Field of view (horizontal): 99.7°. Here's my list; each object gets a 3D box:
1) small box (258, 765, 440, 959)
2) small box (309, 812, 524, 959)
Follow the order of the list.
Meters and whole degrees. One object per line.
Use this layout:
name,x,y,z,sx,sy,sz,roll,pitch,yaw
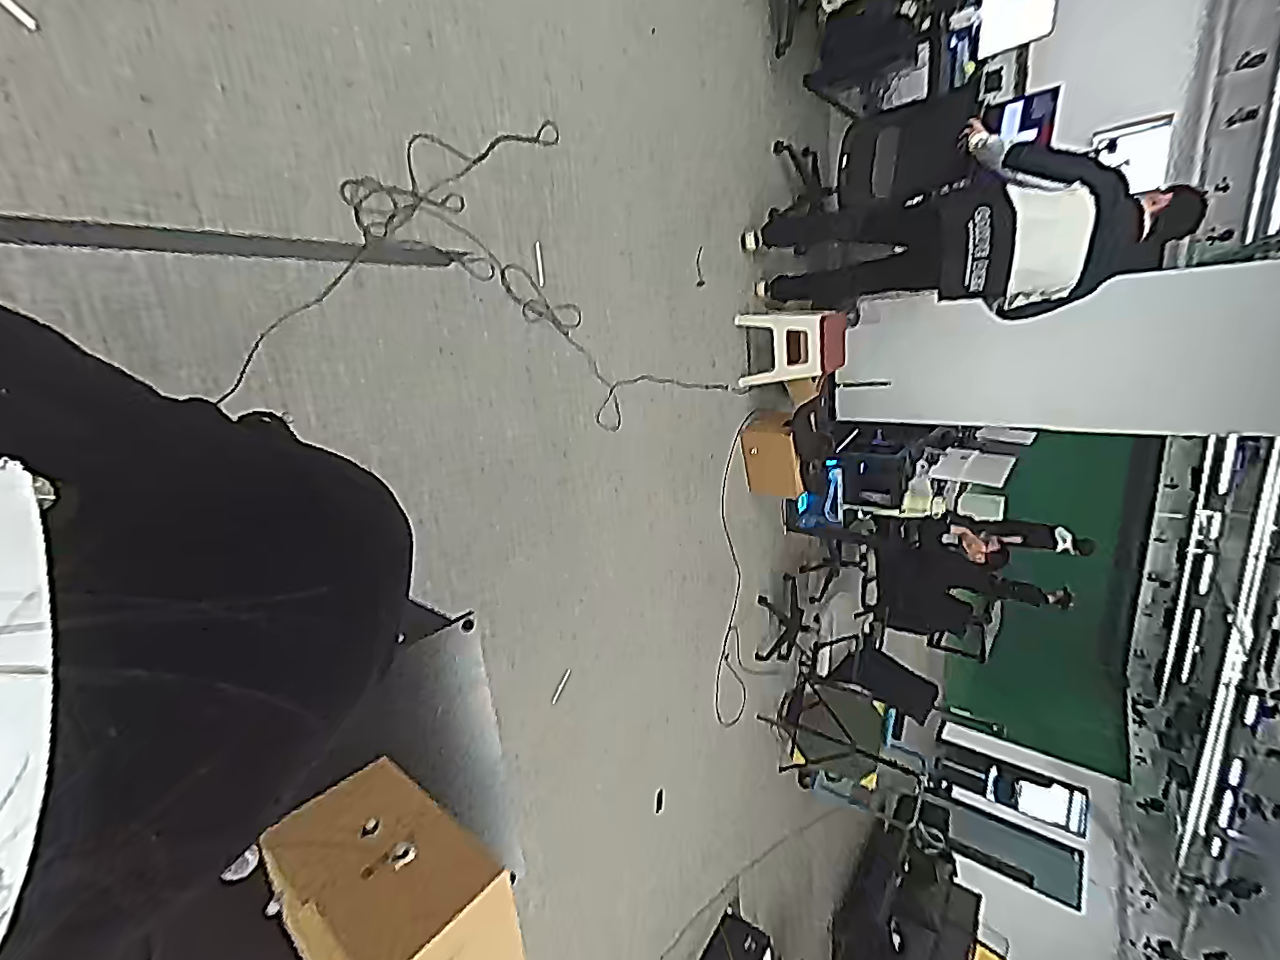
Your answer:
small box,-0.392,0.541,0.754,0.179,0.176,0.168,-20,111,-47
small box,-0.265,0.554,0.653,0.168,0.176,0.179,-23,112,-48
